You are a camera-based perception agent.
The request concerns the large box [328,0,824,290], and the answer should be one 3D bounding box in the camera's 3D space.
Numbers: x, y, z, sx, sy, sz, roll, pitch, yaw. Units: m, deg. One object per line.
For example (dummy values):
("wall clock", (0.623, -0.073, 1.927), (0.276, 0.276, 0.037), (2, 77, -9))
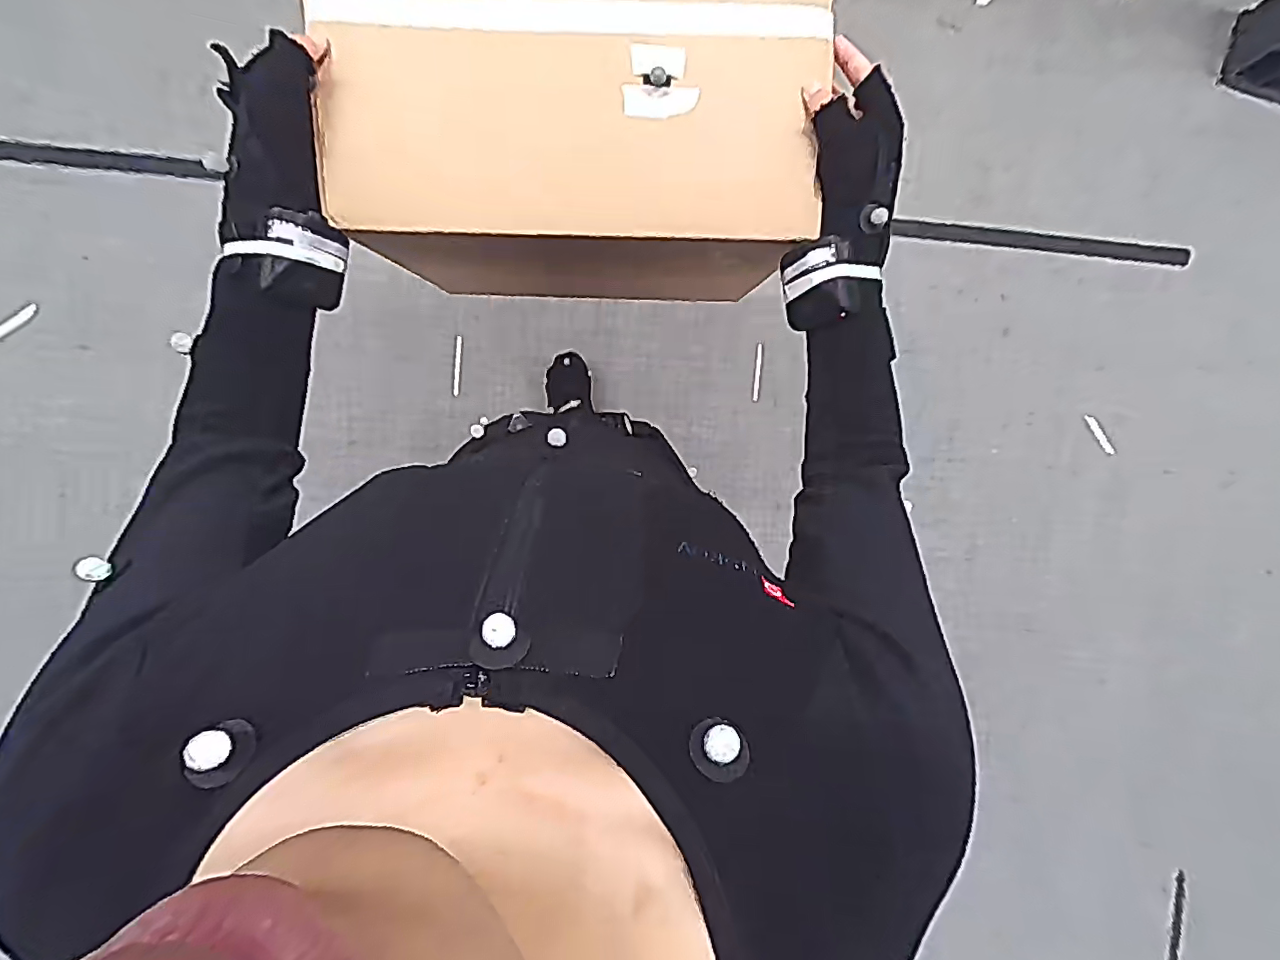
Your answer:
("large box", (-0.056, -0.392, 0.580), (0.408, 0.320, 0.320), (0, 100, -3))
